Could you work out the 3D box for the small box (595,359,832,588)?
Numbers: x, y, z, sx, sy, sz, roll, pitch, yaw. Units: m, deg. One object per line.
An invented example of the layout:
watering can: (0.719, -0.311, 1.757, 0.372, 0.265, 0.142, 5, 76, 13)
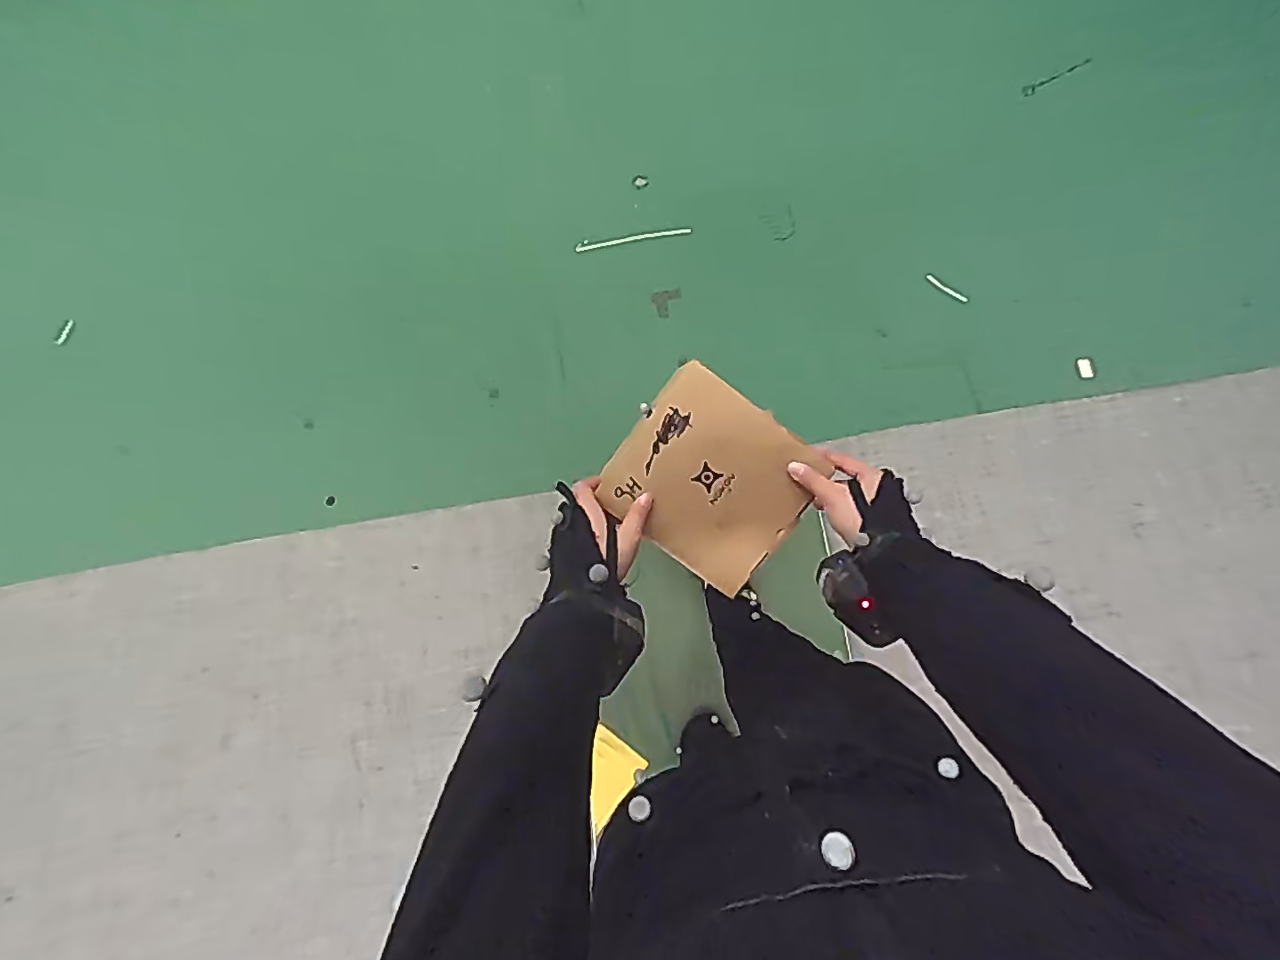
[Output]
small box: (0.072, -0.017, 0.604, 0.179, 0.176, 0.168, 36, 97, -5)
